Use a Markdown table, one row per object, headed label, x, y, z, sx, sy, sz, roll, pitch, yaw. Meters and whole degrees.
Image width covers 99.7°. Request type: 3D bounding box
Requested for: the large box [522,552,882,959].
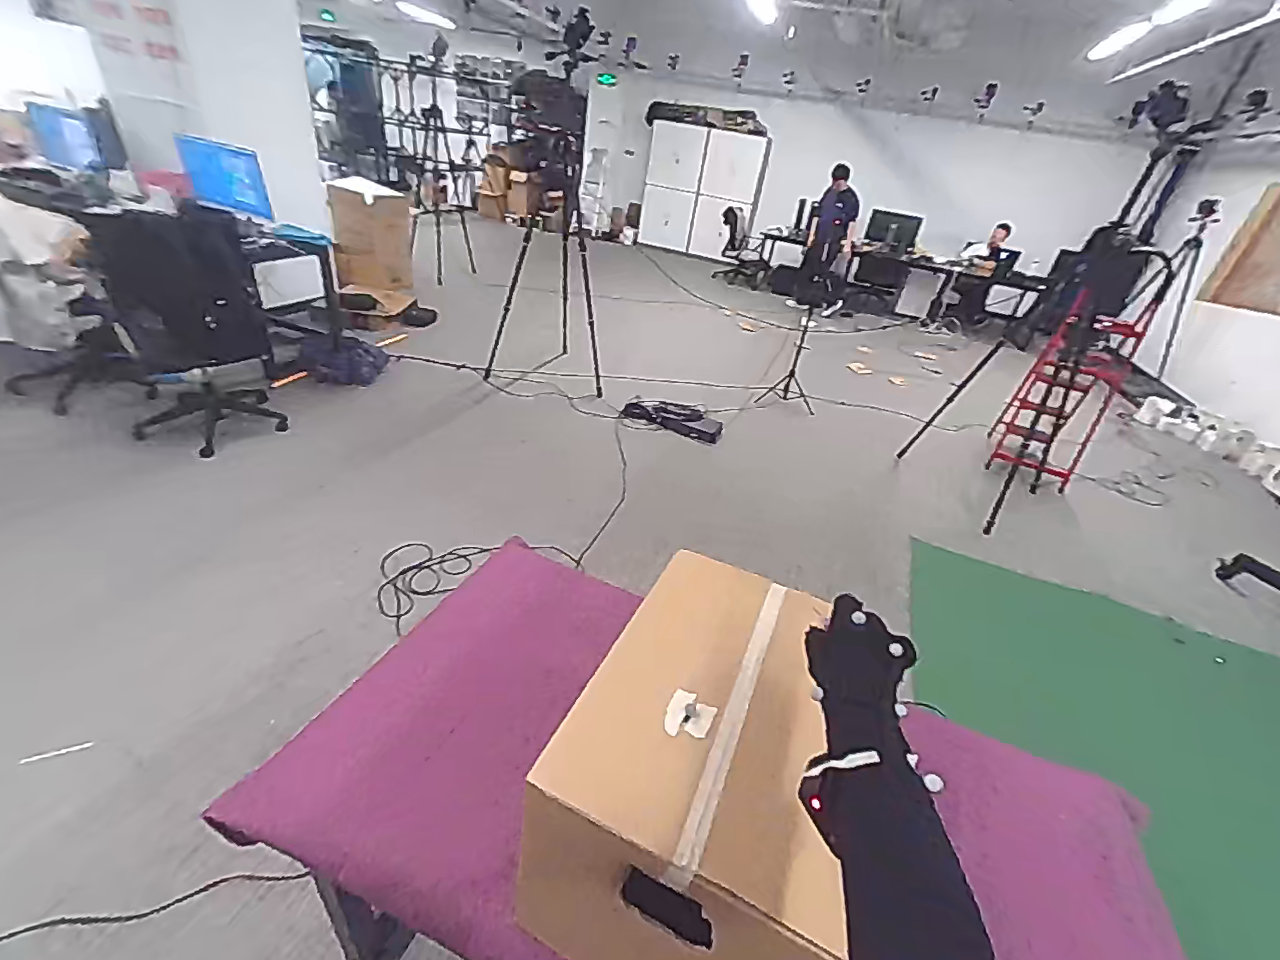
| label | x | y | z | sx | sy | sz | roll | pitch | yaw |
| --- | --- | --- | --- | --- | --- | --- | --- | --- | --- |
| large box | 0.091 | 0.370 | 0.702 | 0.320 | 0.320 | 0.408 | 20 | 33 | 16 |
